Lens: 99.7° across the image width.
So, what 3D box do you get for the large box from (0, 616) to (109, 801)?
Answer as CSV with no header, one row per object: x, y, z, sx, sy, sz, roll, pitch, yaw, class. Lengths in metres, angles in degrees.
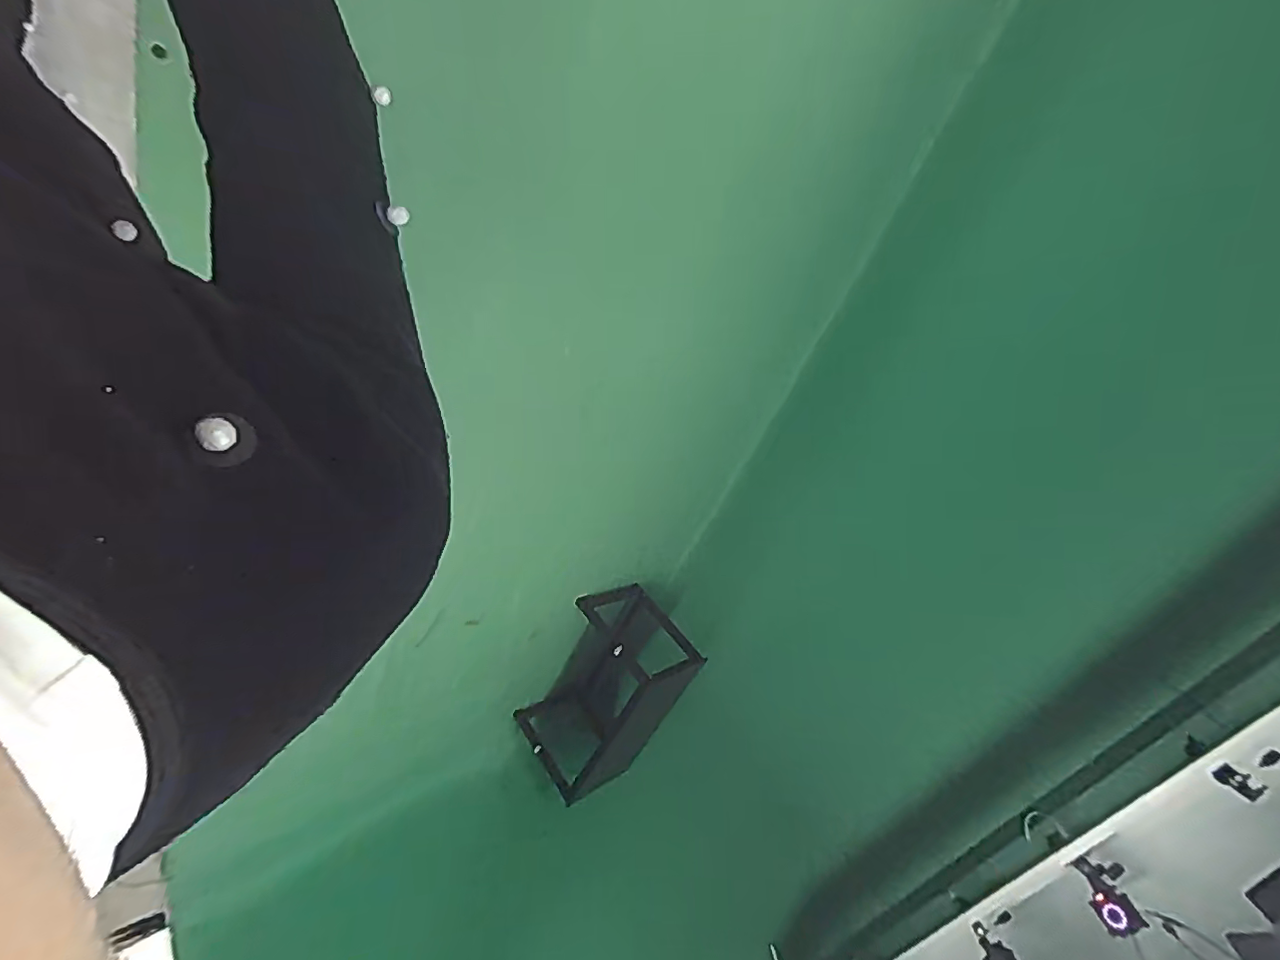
-1.770,0.646,1.433,0.408,0.320,0.320,-33,148,-22,large box
